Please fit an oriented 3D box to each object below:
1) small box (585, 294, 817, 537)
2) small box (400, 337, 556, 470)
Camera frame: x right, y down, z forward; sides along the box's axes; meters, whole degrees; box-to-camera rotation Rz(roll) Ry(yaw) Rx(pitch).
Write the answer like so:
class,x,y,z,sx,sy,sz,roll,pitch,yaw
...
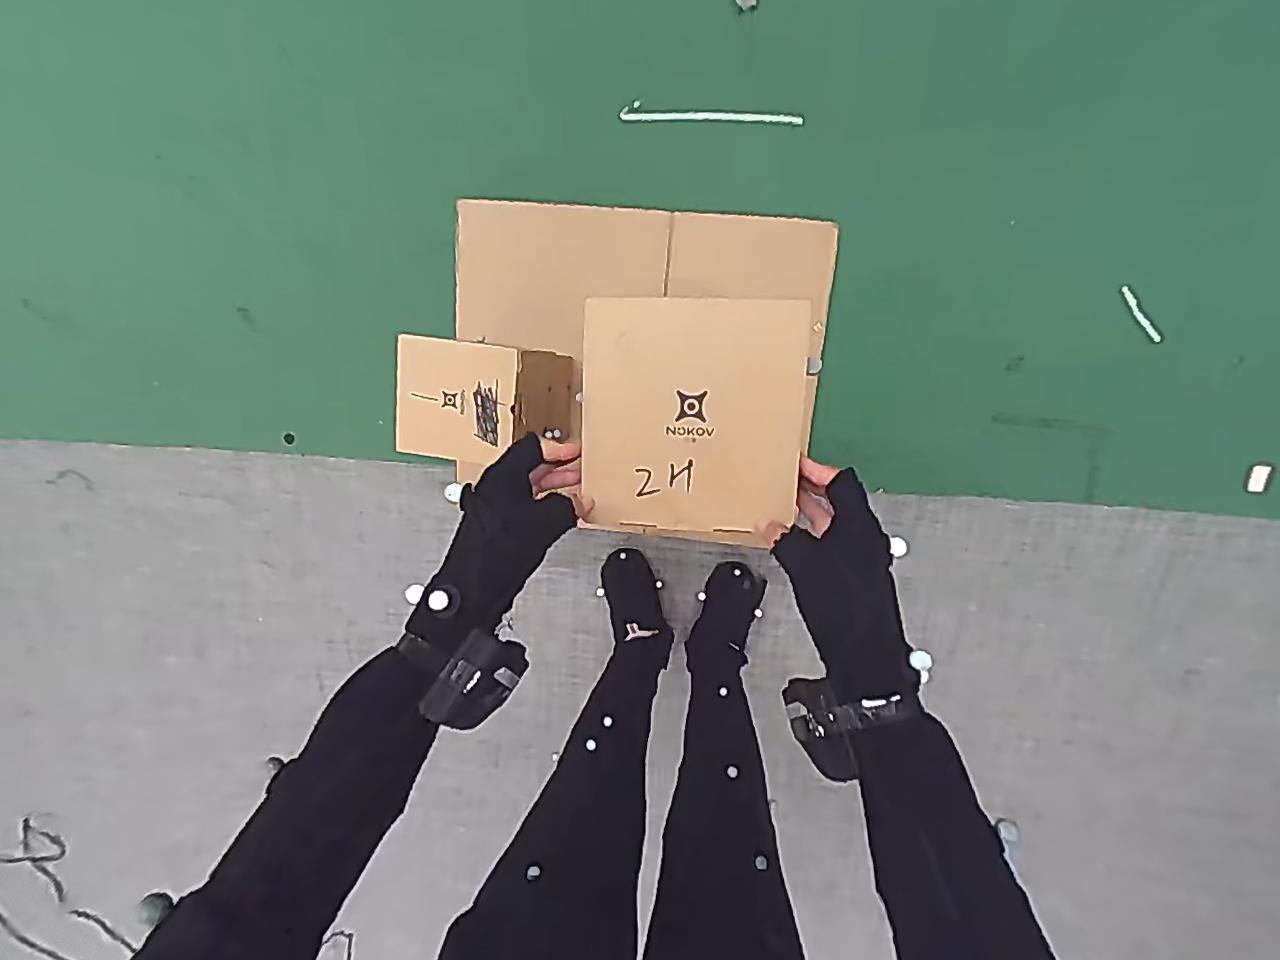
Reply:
class,x,y,z,sx,sy,sz,roll,pitch,yaw
small box,0.052,-0.059,0.483,0.168,0.176,0.179,3,100,8
small box,-0.235,-0.121,0.820,0.179,0.176,0.168,9,102,7
